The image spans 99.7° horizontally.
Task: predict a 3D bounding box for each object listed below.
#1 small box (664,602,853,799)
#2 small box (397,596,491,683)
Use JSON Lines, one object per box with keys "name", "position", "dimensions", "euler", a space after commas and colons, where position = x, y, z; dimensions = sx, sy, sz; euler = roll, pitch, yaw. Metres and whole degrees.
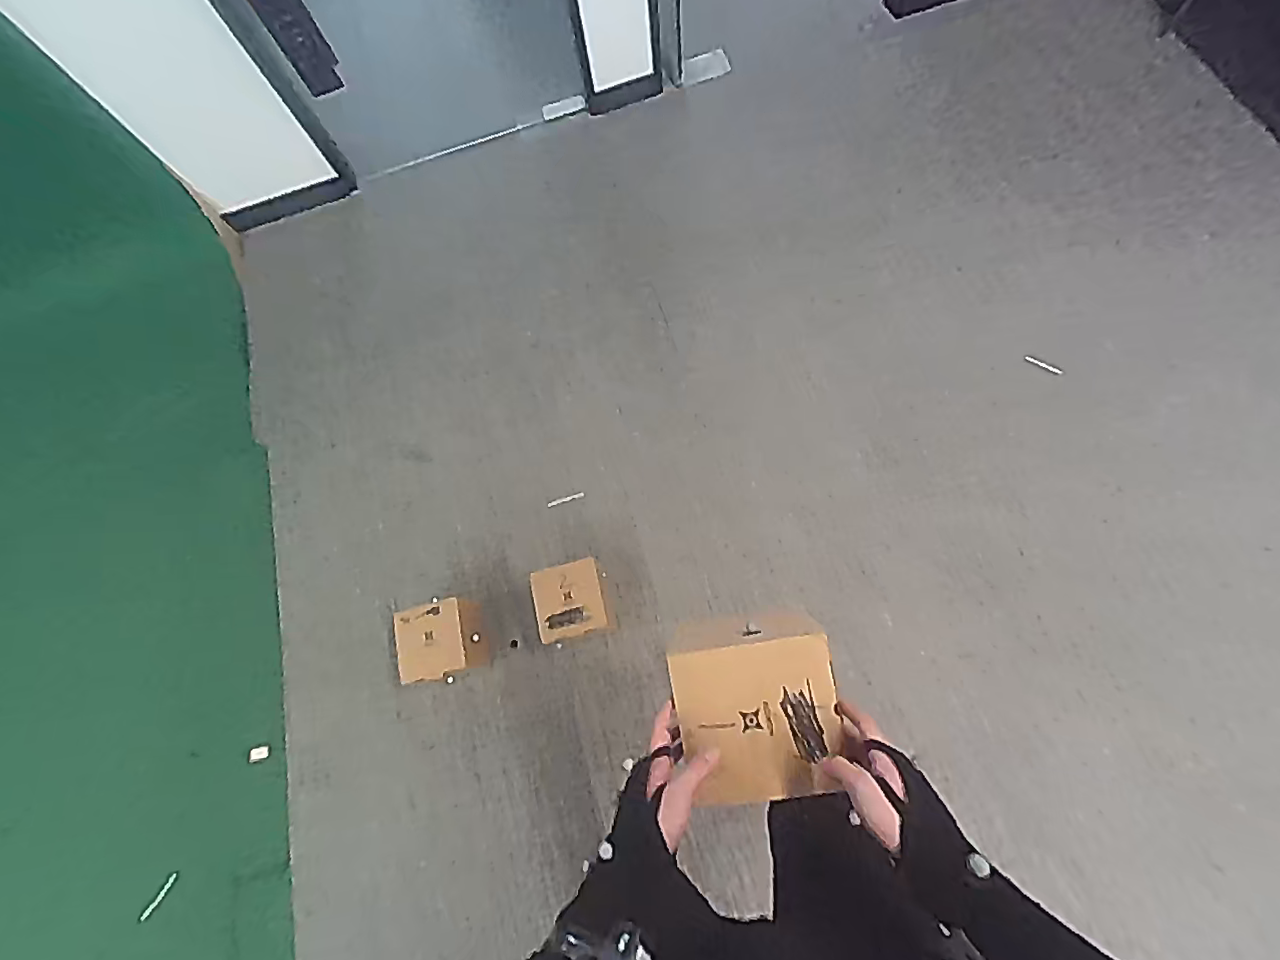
{"name": "small box", "position": [0.134, 0.251, 0.654], "dimensions": [0.179, 0.176, 0.168], "euler": [-11, 85, 8]}
{"name": "small box", "position": [-0.495, 0.408, 1.384], "dimensions": [0.168, 0.176, 0.179], "euler": [-16, 71, 1]}
